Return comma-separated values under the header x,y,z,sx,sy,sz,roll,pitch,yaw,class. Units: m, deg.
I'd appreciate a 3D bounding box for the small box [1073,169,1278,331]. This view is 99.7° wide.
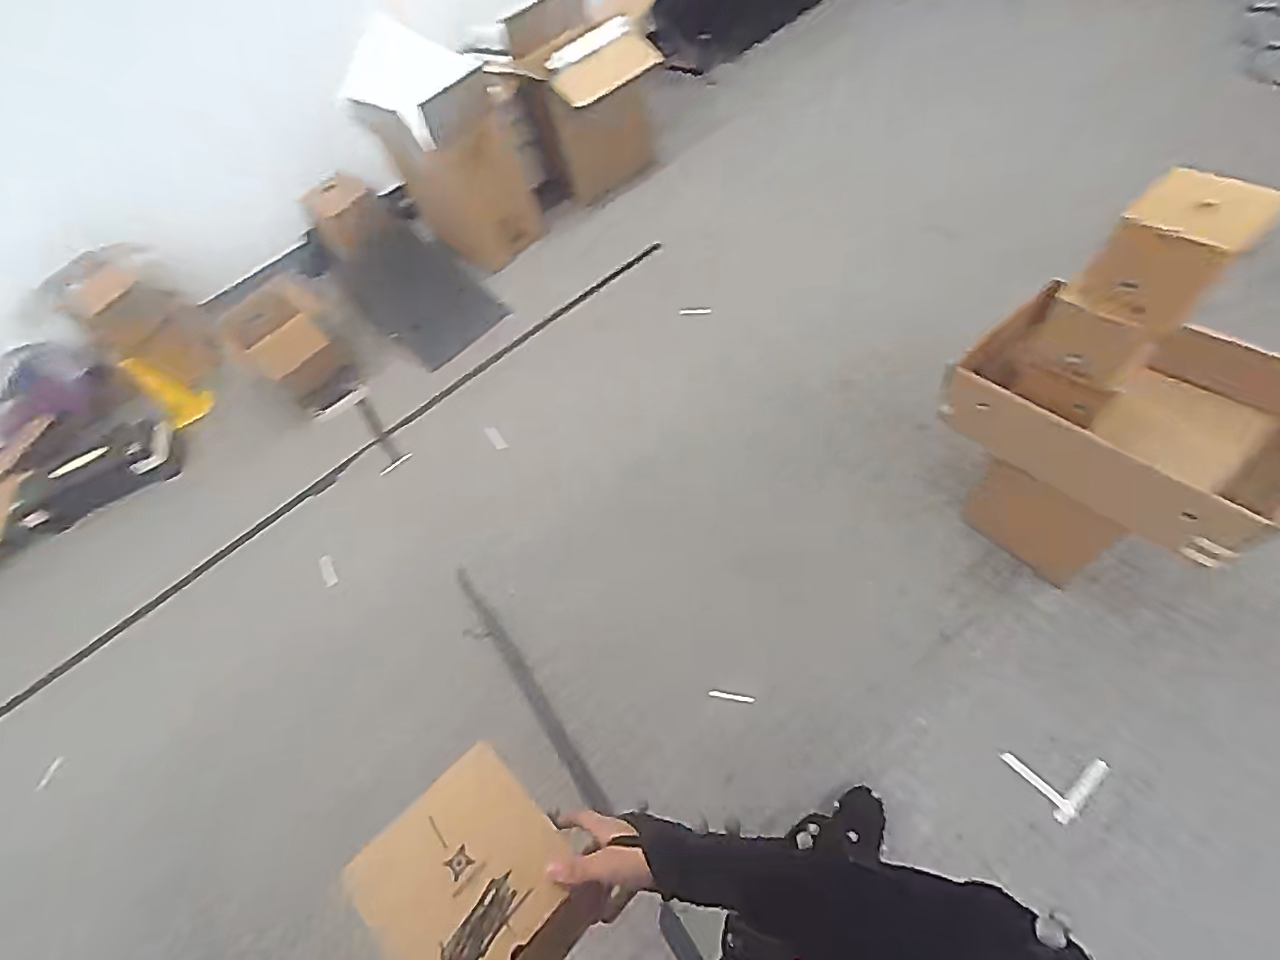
x,y,z,sx,sy,sz,roll,pitch,yaw,class
0.917,-0.400,0.948,0.179,0.176,0.168,-40,58,-12,small box

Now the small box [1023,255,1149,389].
x,y,z,sx,sy,sz,roll,pitch,yaw,class
0.922,-0.320,1.093,0.179,0.176,0.168,-42,58,-14,small box

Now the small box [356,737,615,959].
x,y,z,sx,sy,sz,roll,pitch,yaw,class
-0.143,0.411,0.555,0.179,0.176,0.168,32,56,31,small box

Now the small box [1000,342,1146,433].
x,y,z,sx,sy,sz,roll,pitch,yaw,class
0.967,-0.232,1.224,0.168,0.176,0.179,-44,58,-15,small box
